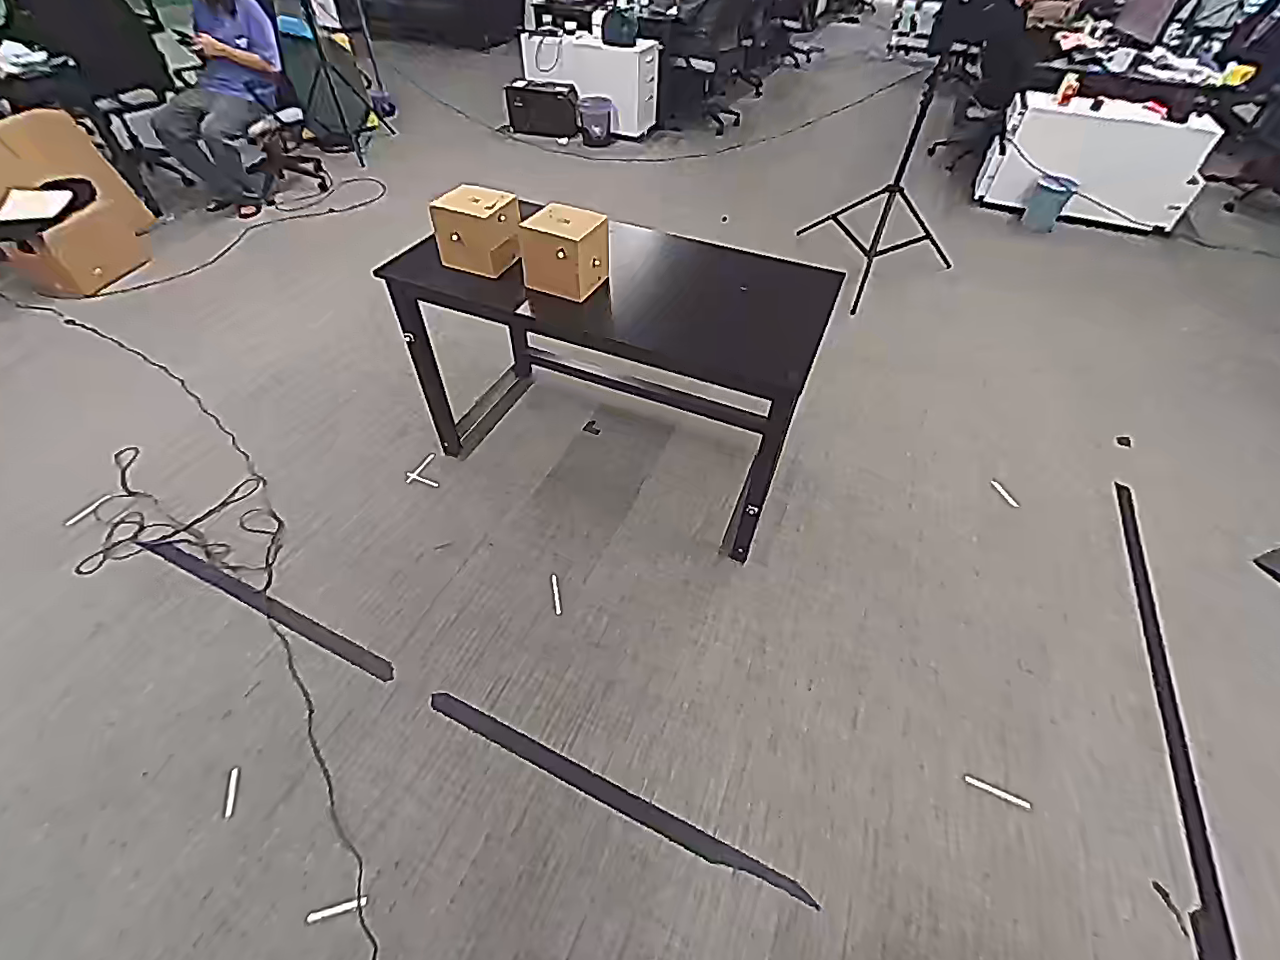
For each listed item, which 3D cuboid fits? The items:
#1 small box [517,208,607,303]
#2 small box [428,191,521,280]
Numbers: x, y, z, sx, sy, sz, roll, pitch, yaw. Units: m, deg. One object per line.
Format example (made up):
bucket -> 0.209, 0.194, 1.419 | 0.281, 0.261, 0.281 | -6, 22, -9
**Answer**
small box -> -0.201, -0.594, 1.438 | 0.179, 0.176, 0.168 | 20, 50, 15
small box -> -0.451, -0.679, 1.507 | 0.179, 0.176, 0.168 | 17, 50, 13
